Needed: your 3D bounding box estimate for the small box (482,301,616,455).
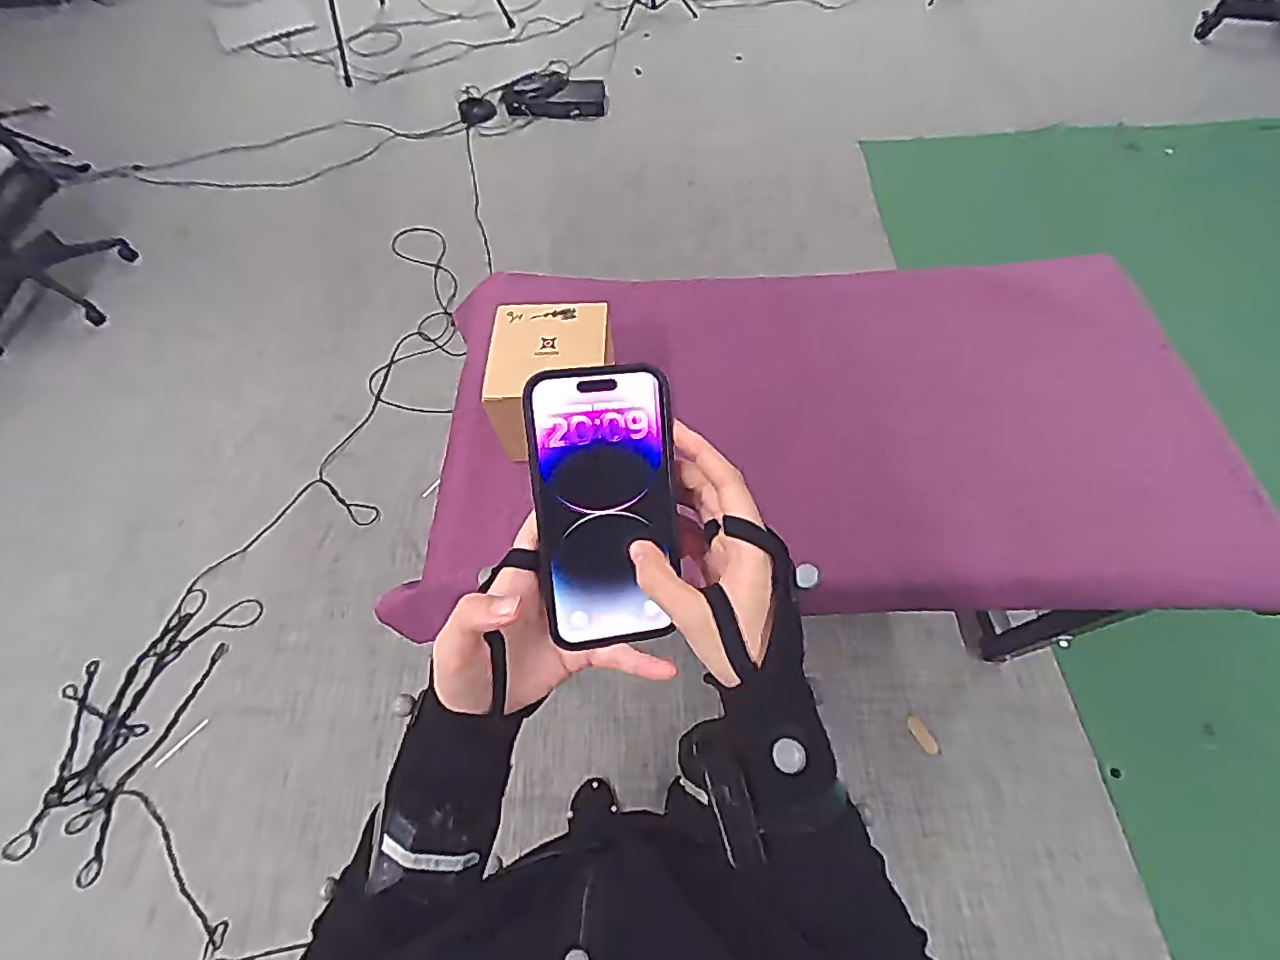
[{"bbox_3d":[-0.126,-0.149,0.832,0.168,0.176,0.179,0,62,3],"label":"small box"}]
